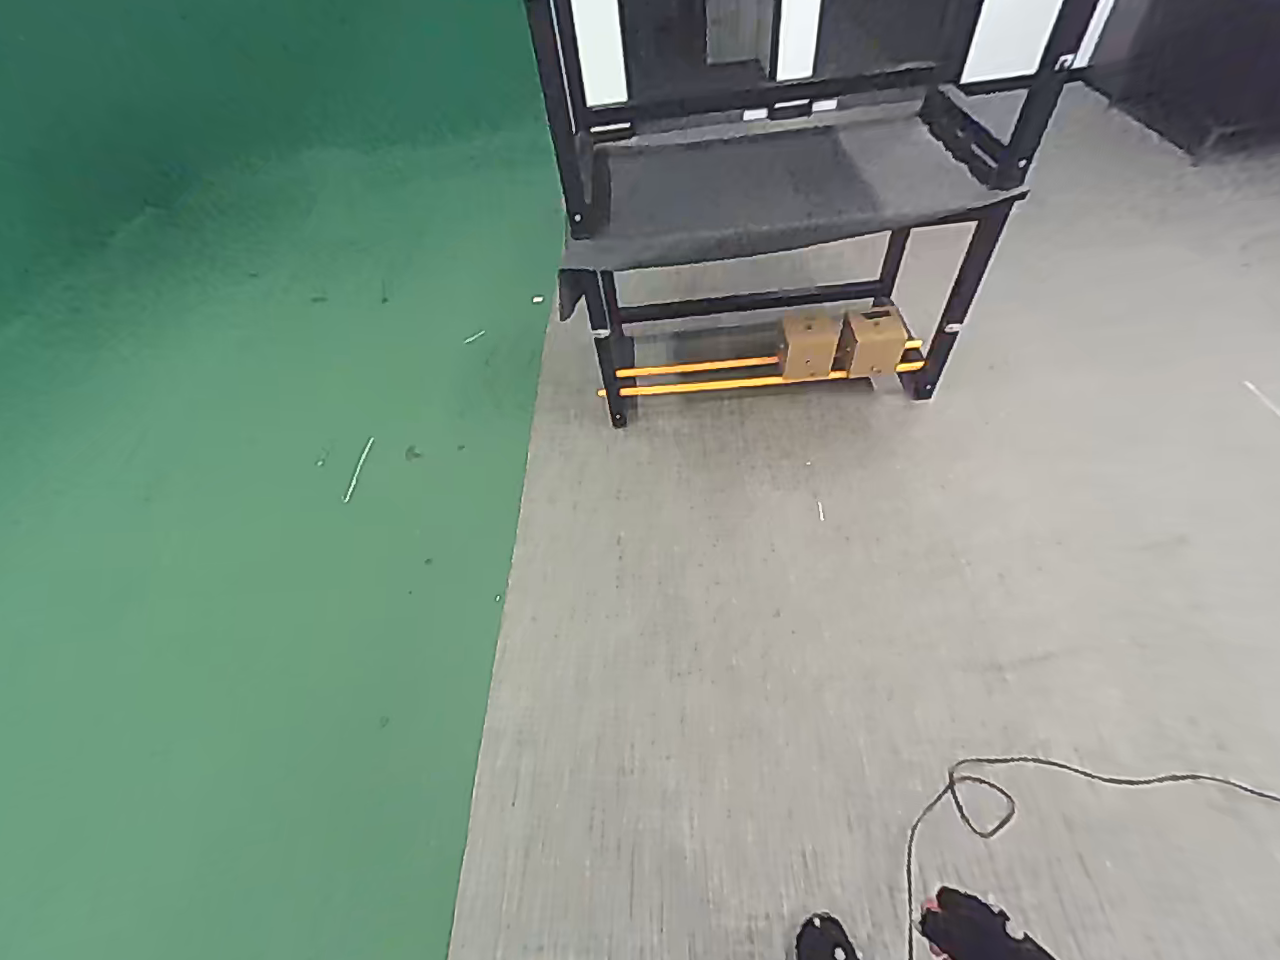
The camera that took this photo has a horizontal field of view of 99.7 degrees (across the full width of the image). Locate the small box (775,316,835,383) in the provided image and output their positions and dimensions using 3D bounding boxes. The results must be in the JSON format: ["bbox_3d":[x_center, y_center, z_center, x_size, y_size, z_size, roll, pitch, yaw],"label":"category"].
[{"bbox_3d":[0.589,-0.463,1.946,0.168,0.176,0.179,-5,52,4],"label":"small box"}]
